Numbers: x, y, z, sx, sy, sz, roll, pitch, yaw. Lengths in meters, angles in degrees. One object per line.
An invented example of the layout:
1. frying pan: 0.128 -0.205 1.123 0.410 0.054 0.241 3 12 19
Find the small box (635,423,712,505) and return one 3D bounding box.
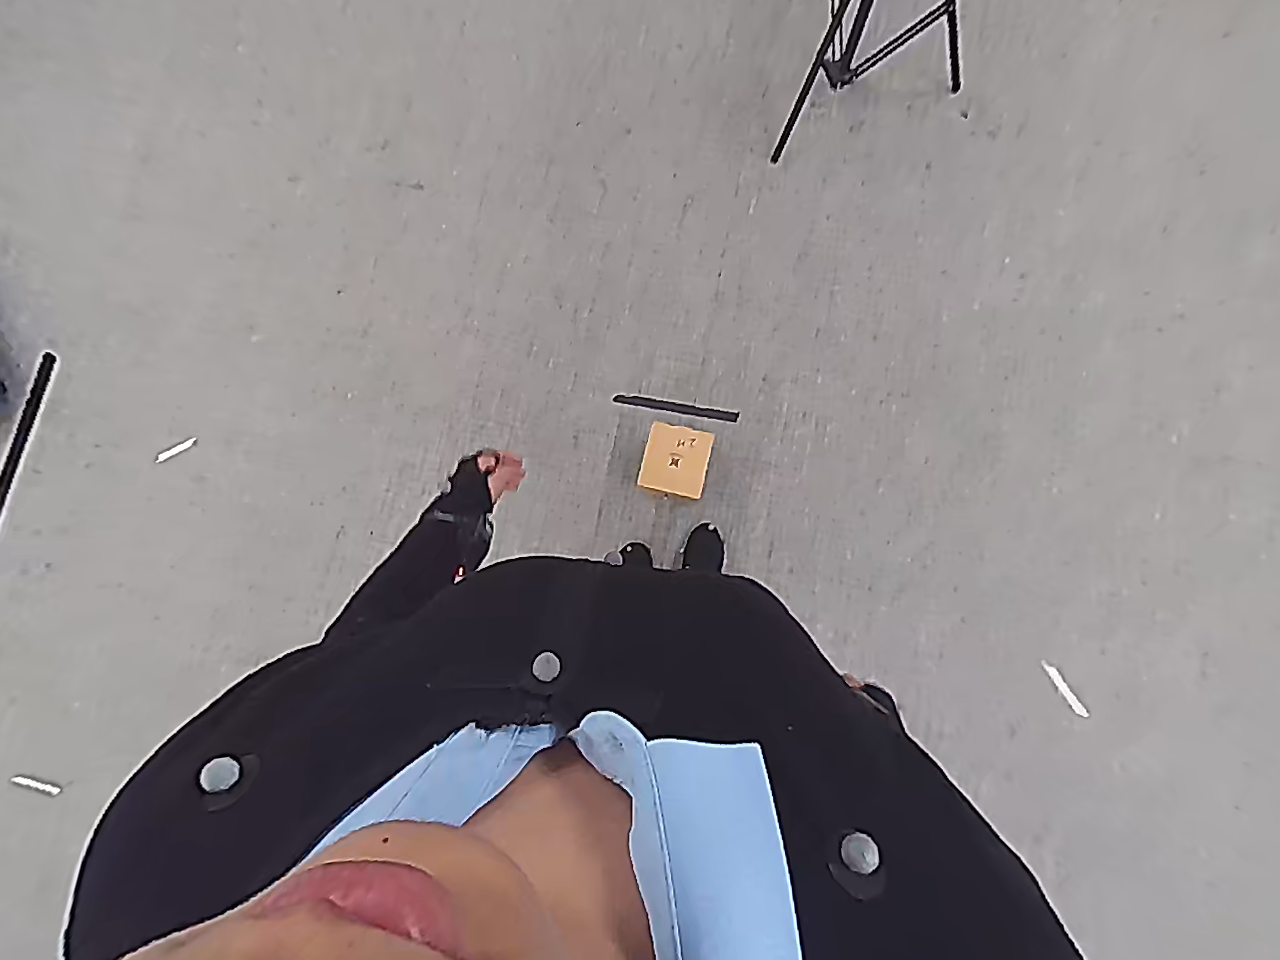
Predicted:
1. small box: 0.093 -0.035 1.456 0.168 0.176 0.179 14 83 5
